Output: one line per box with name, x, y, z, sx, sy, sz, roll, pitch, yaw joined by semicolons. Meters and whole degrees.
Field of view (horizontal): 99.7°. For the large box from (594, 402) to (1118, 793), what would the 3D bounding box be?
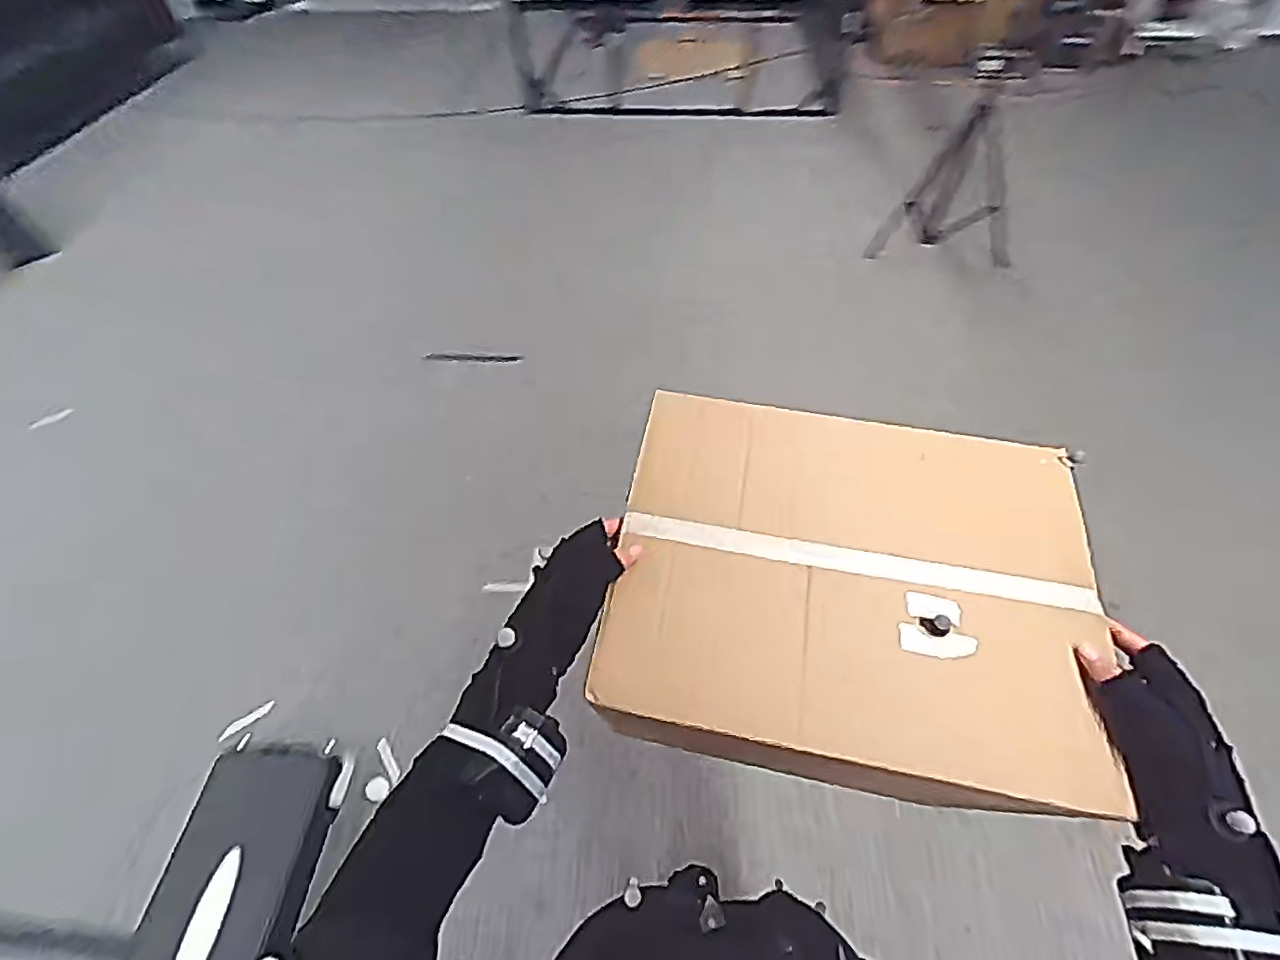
large box;0.180;0.146;0.613;0.408;0.320;0.320;9;62;5
